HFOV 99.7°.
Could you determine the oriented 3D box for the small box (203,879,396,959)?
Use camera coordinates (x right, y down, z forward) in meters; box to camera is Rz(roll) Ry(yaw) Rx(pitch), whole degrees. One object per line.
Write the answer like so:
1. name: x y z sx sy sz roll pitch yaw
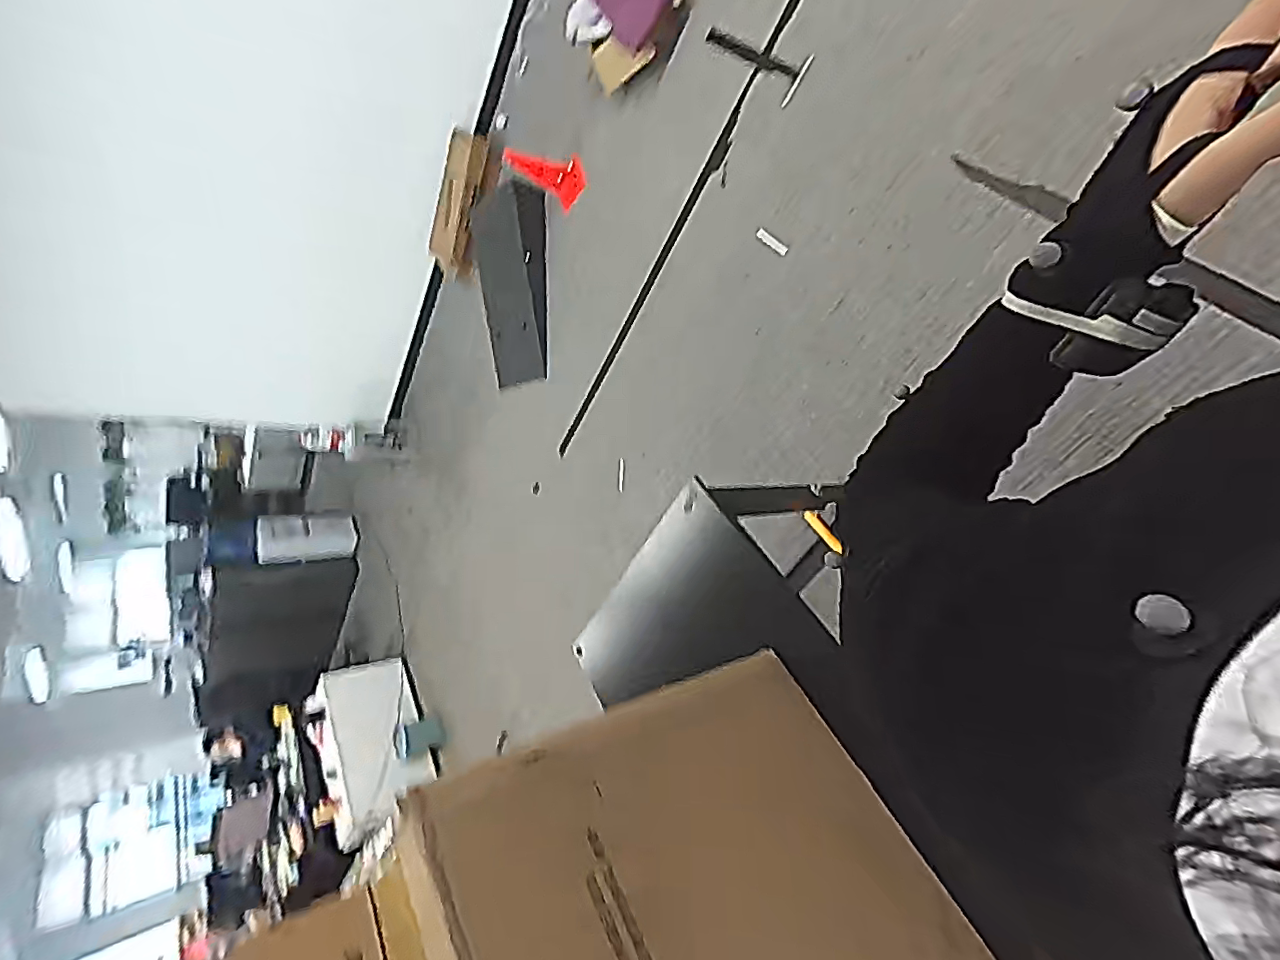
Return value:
1. small box: -0.343 0.546 0.535 0.168 0.176 0.179 55 128 30
